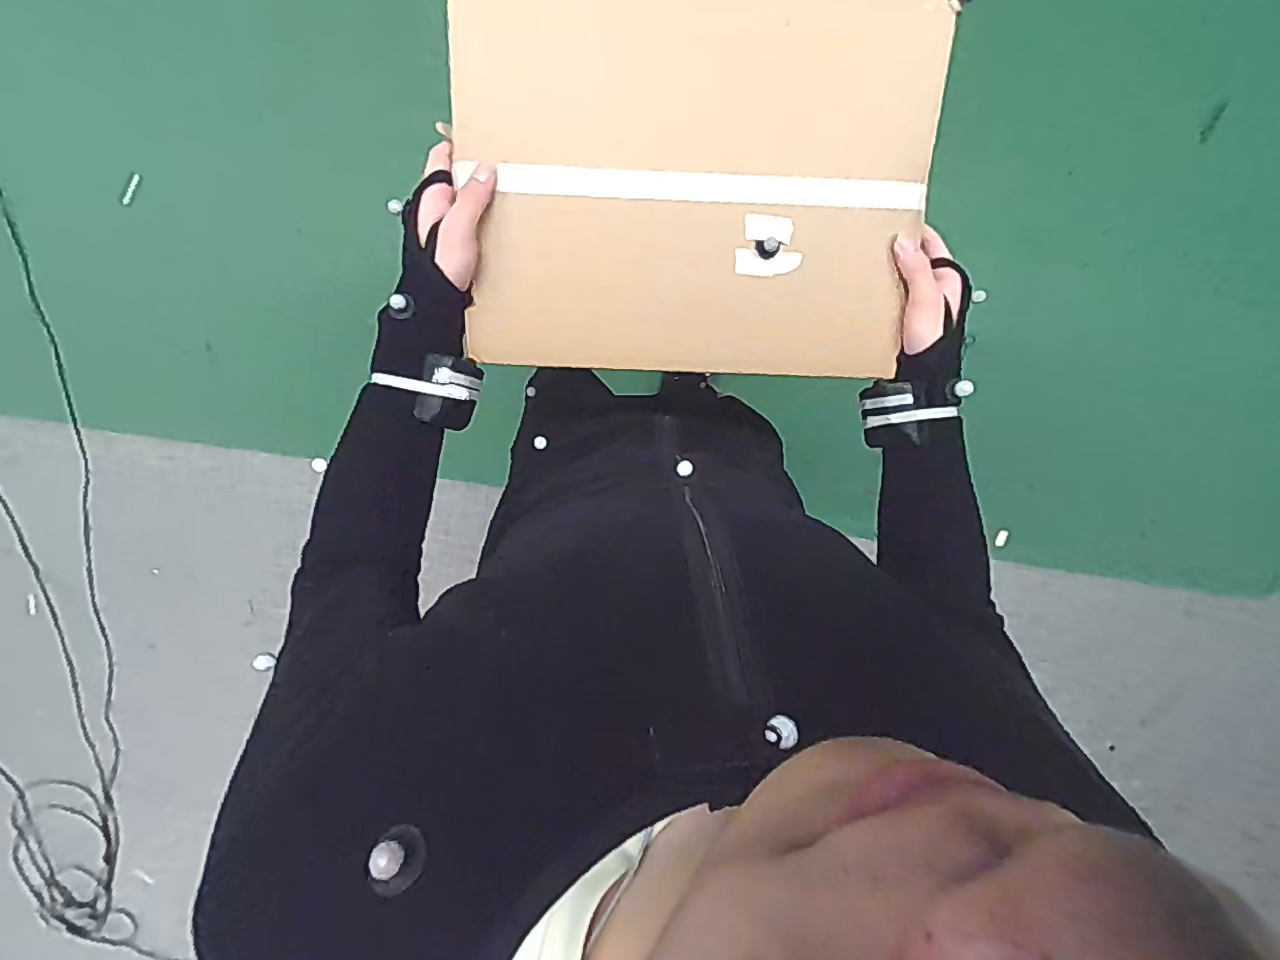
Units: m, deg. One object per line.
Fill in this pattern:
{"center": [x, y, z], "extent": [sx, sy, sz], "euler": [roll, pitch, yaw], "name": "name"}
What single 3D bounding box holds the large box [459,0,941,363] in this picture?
{"center": [0.041, -0.304, 0.619], "extent": [0.408, 0.320, 0.320], "euler": [1, 107, -3], "name": "large box"}
